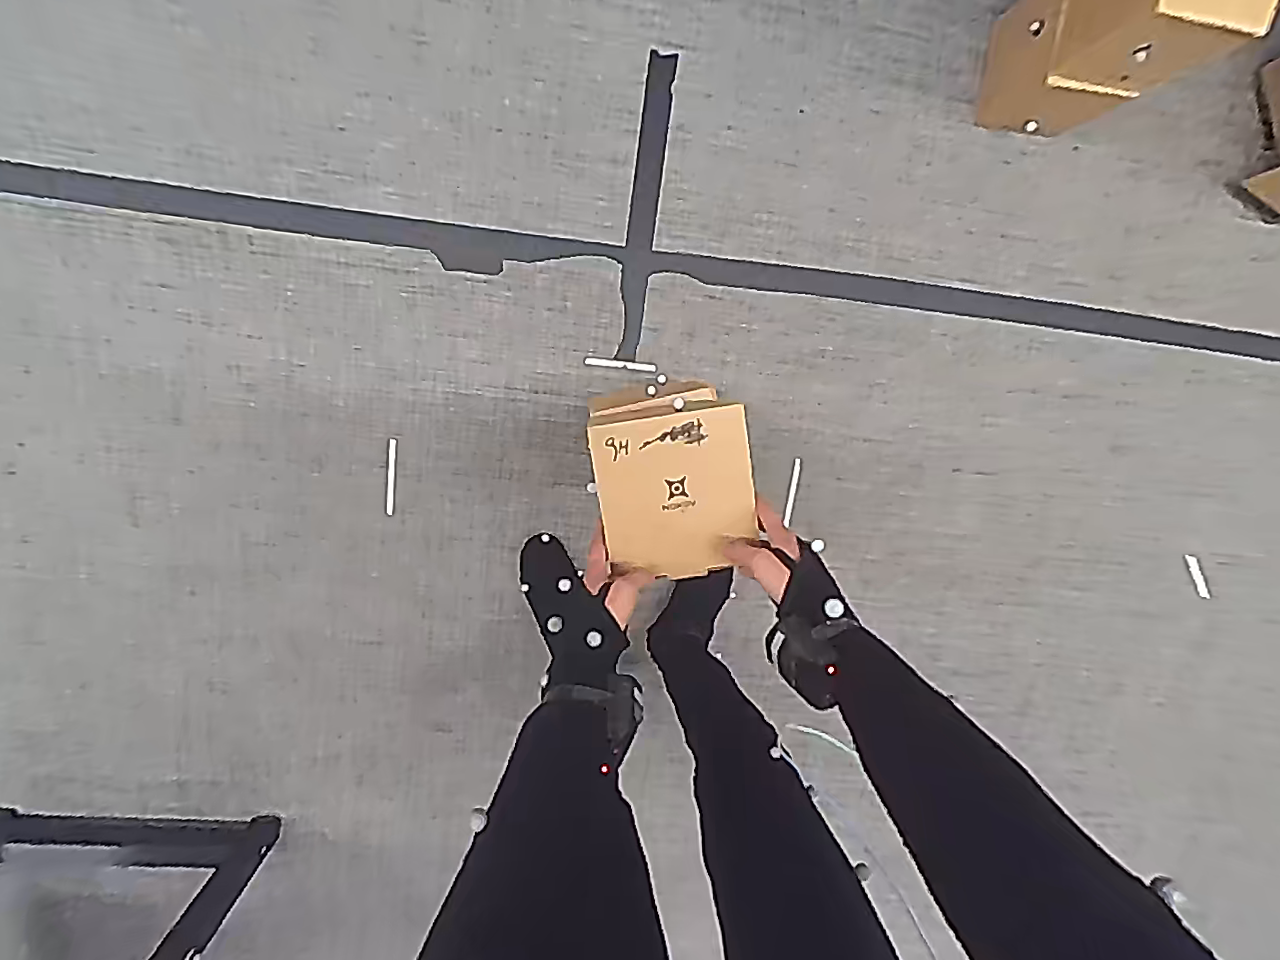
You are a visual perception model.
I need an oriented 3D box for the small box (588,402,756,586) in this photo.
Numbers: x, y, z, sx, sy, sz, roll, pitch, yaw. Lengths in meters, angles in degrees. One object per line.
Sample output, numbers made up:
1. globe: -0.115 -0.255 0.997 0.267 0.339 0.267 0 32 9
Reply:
1. small box: 0.033 0.006 0.652 0.168 0.176 0.179 -9 101 -2
